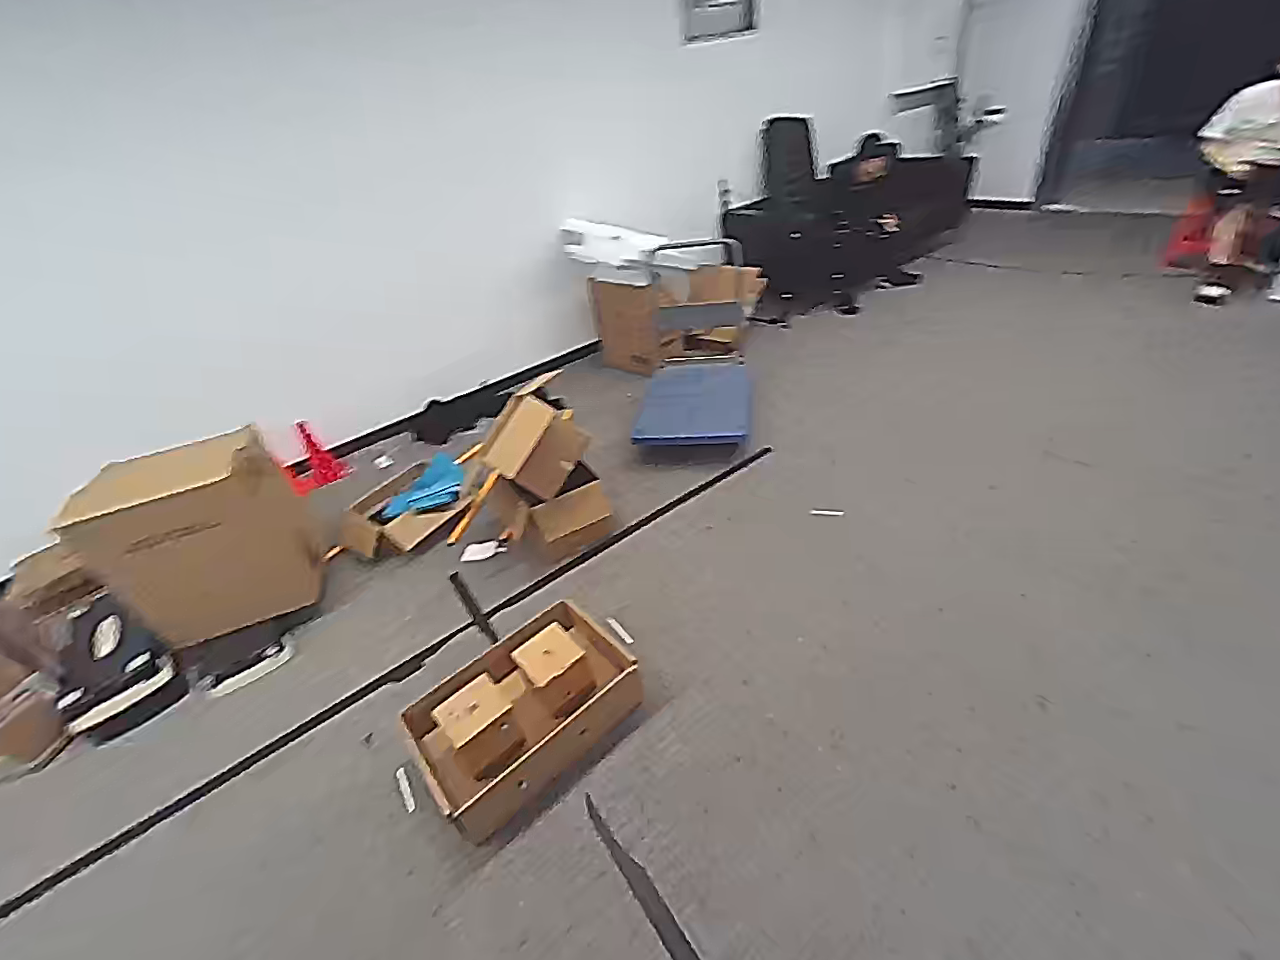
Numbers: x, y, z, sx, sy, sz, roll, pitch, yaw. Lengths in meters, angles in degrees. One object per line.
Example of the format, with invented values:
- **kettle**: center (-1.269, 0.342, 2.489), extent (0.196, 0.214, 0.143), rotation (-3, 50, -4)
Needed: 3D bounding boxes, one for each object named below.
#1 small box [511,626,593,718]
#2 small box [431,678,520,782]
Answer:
- **small box**: center (-0.272, 0.599, 1.686), extent (0.168, 0.176, 0.179), rotation (-33, 41, -28)
- **small box**: center (-0.465, 0.720, 1.562), extent (0.179, 0.176, 0.168), rotation (-33, 39, -30)
